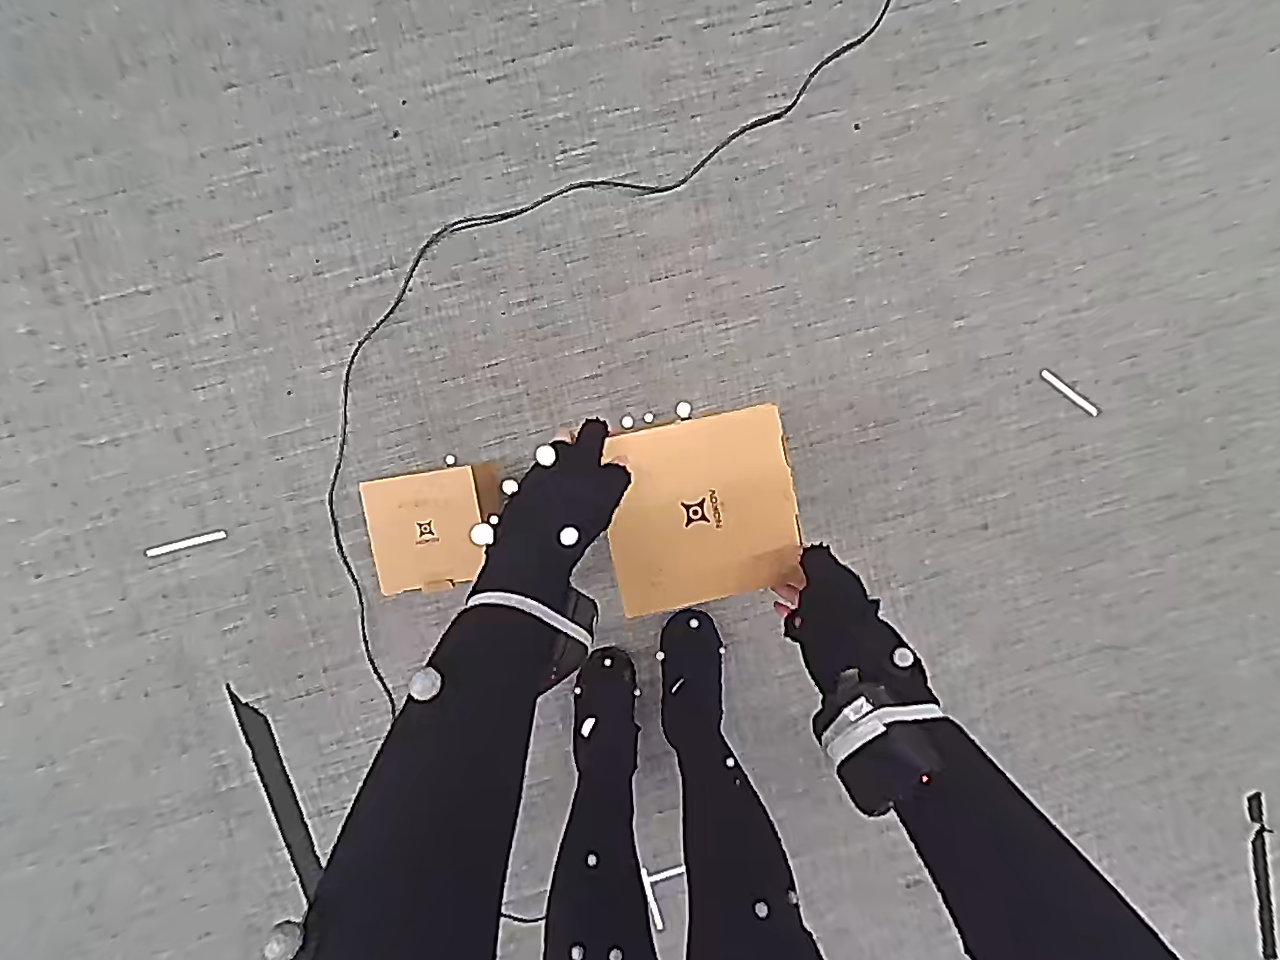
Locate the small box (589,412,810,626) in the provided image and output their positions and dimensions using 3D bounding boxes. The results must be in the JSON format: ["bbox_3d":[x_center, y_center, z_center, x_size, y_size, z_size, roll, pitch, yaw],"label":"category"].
[{"bbox_3d":[0.051,0.030,0.564,0.179,0.176,0.168,-13,96,-3],"label":"small box"}]

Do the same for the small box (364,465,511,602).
[{"bbox_3d":[-0.315,0.078,0.879,0.168,0.176,0.179,-9,96,-3],"label":"small box"}]
